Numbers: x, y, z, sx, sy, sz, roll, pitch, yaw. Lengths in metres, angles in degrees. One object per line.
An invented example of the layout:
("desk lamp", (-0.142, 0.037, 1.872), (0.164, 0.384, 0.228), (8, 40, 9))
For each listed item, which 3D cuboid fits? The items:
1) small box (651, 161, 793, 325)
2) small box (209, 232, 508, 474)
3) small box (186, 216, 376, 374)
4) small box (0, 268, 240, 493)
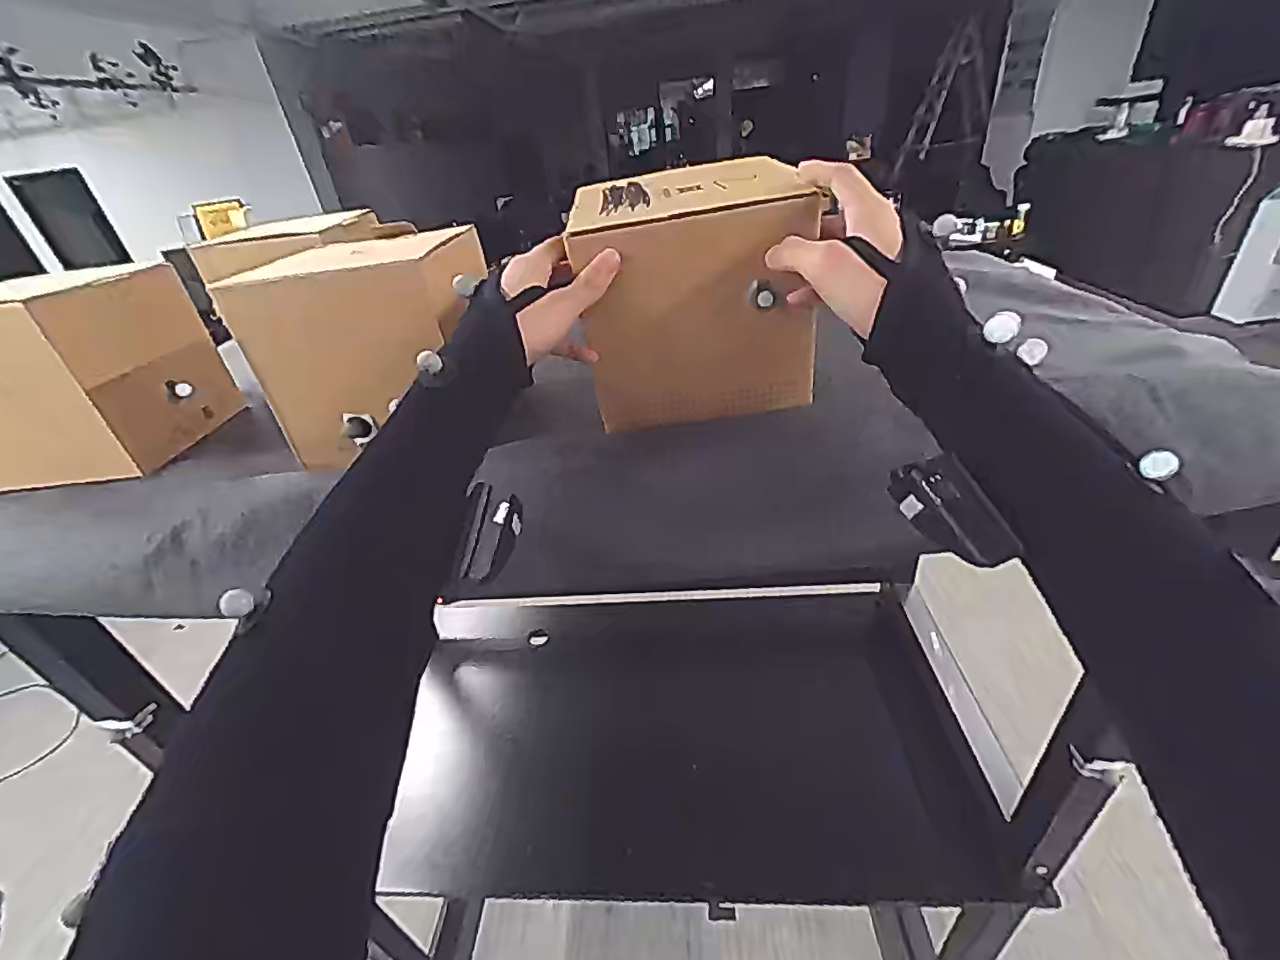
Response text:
("small box", (0.107, -0.313, 0.724), (0.168, 0.176, 0.179), (-5, 33, 5))
("small box", (-0.233, -0.124, 0.508), (0.168, 0.176, 0.179), (-7, 32, 3))
("small box", (-0.466, -0.264, 0.770), (0.179, 0.176, 0.168), (-5, 33, 4))
("small box", (-0.563, -0.099, 0.538), (0.179, 0.176, 0.168), (-6, 32, 2))
